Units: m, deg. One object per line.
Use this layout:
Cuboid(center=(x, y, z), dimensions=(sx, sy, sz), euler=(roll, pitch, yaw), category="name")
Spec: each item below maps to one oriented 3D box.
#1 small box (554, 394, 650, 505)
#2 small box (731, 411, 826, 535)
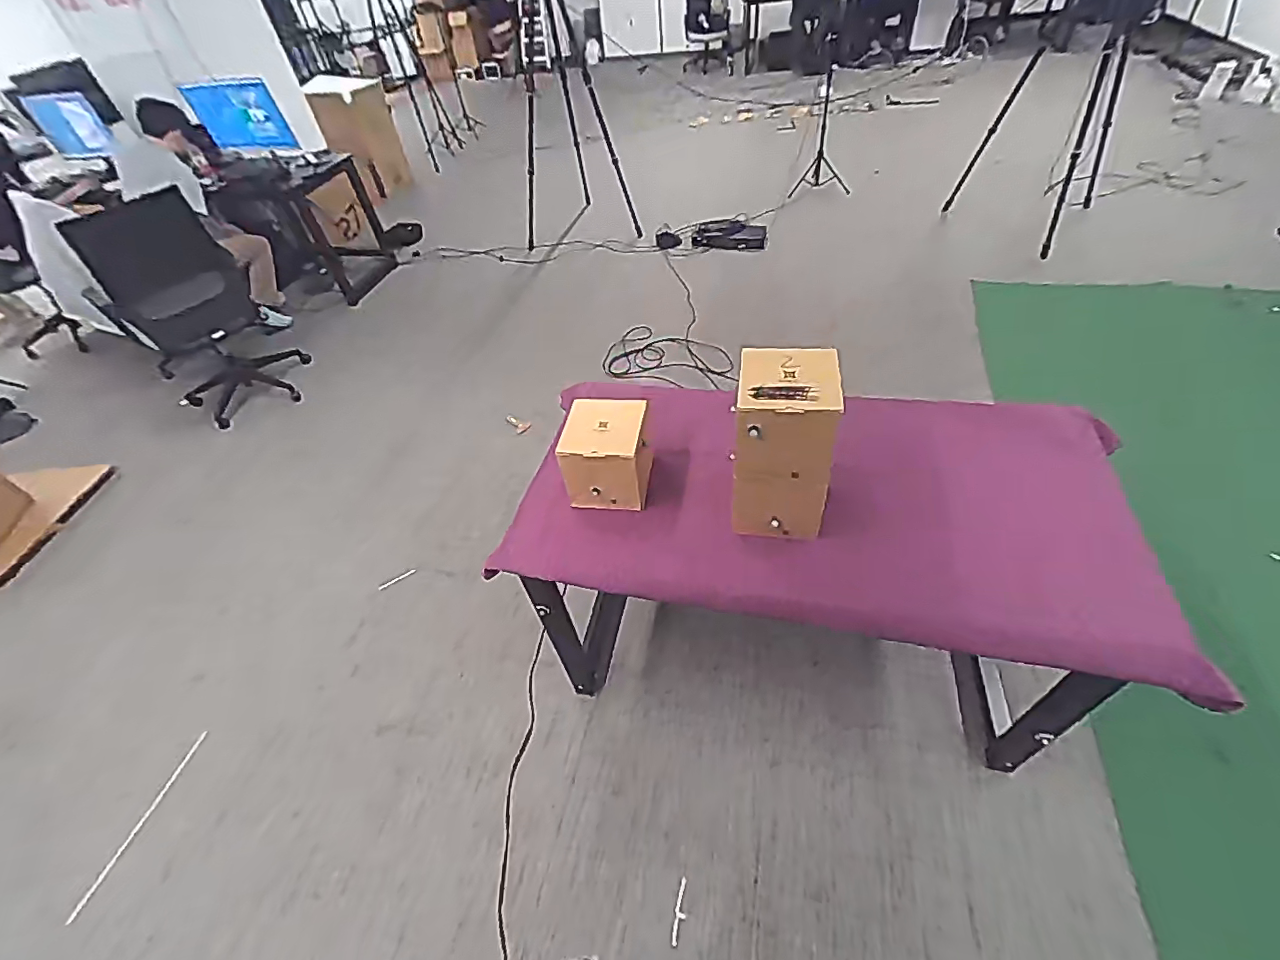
Cuboid(center=(-0.073, -0.068, 1.182), dimensions=(0.168, 0.176, 0.179), euler=(2, 48, 10), category="small box")
Cuboid(center=(0.273, -0.016, 1.079), dimensions=(0.168, 0.176, 0.179), euler=(4, 48, 13), category="small box")
